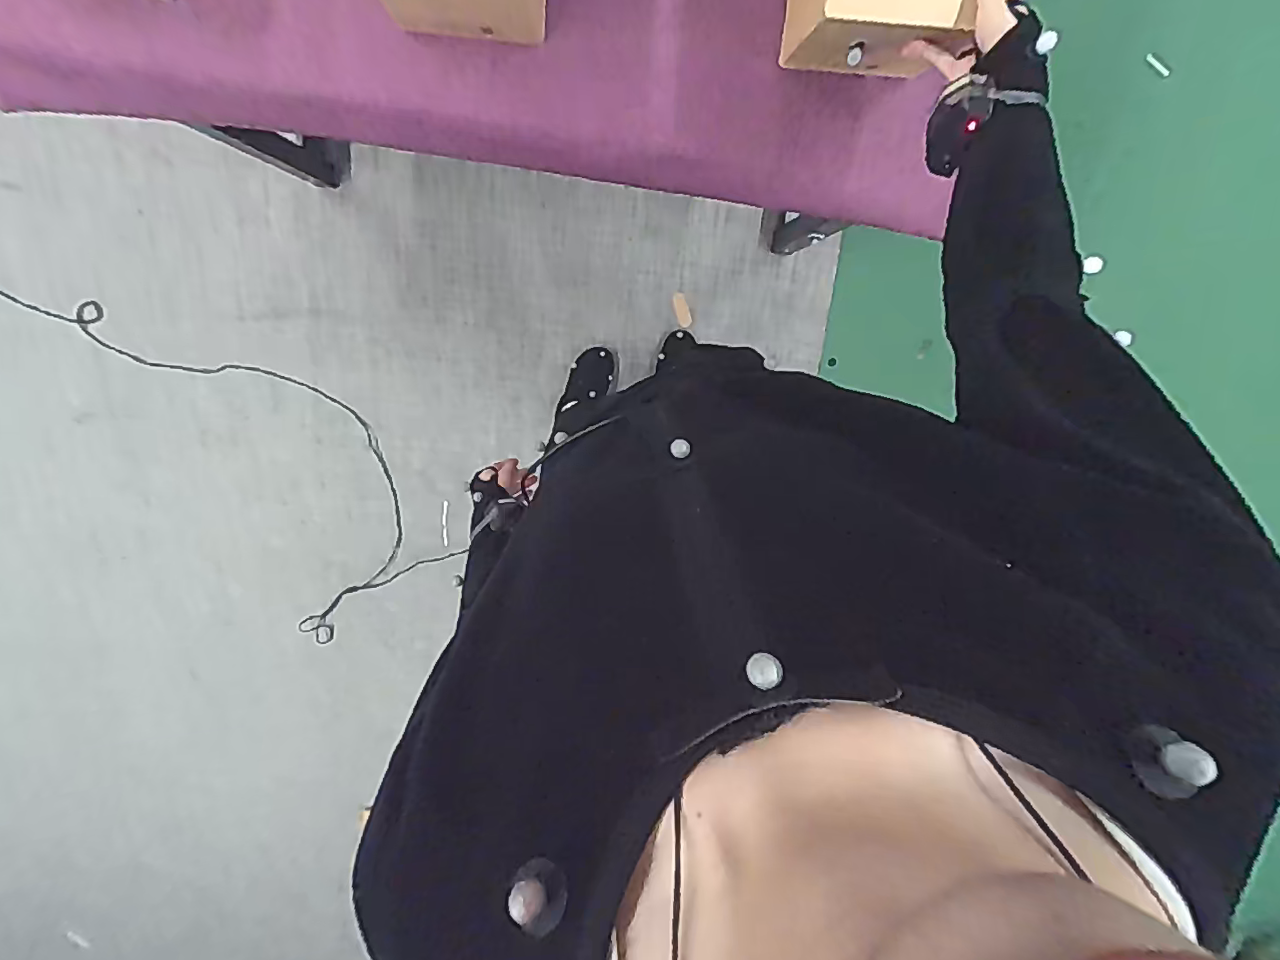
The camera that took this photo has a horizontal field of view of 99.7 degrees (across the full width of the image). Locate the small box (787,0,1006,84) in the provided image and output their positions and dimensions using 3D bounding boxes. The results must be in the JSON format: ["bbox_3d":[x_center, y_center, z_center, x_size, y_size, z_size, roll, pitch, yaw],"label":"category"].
[{"bbox_3d":[0.256,-0.523,0.540,0.168,0.176,0.179,3,113,-2],"label":"small box"}]
